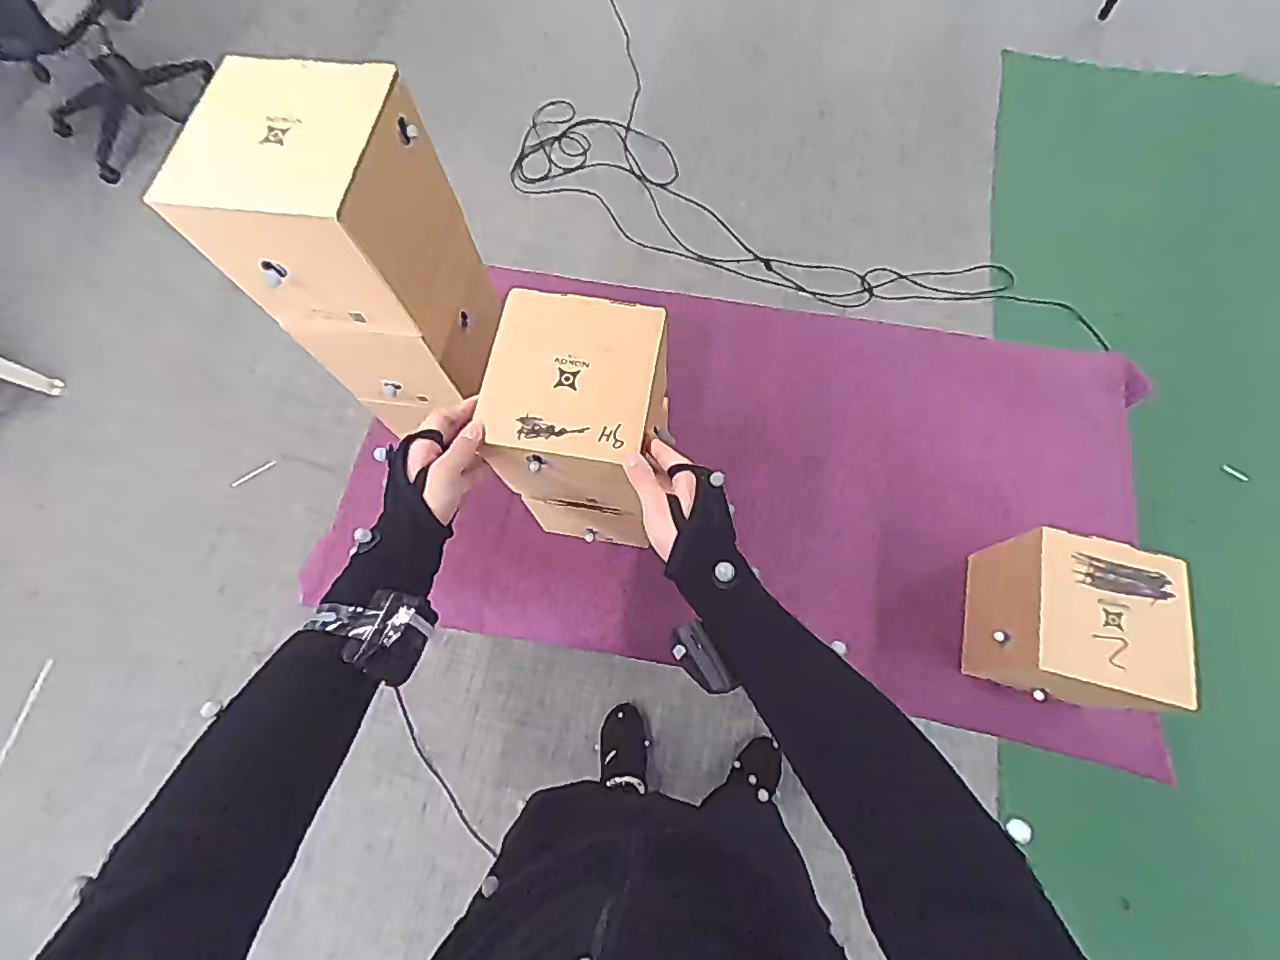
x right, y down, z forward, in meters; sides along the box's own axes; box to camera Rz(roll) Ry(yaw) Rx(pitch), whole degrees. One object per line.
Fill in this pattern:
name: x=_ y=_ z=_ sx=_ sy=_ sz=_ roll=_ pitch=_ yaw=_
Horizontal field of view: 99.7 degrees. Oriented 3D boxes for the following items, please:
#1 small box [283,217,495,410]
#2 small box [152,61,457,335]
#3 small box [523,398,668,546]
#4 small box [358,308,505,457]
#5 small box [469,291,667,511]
small box: x=-0.297 y=-0.211 z=0.686 sx=0.168 sy=0.176 sz=0.179 roll=7 pitch=71 yaw=5
small box: x=-0.301 y=-0.265 z=0.534 sx=0.168 sy=0.176 sz=0.179 roll=7 pitch=70 yaw=5
small box: x=-0.056 y=-0.017 z=0.785 sx=0.168 sy=0.176 sz=0.179 roll=9 pitch=71 yaw=5
small box: x=-0.294 y=-0.155 z=0.840 sx=0.168 sy=0.176 sz=0.179 roll=8 pitch=71 yaw=4
small box: x=-0.065 y=-0.079 z=0.607 sx=0.168 sy=0.176 sz=0.179 roll=9 pitch=73 yaw=6
